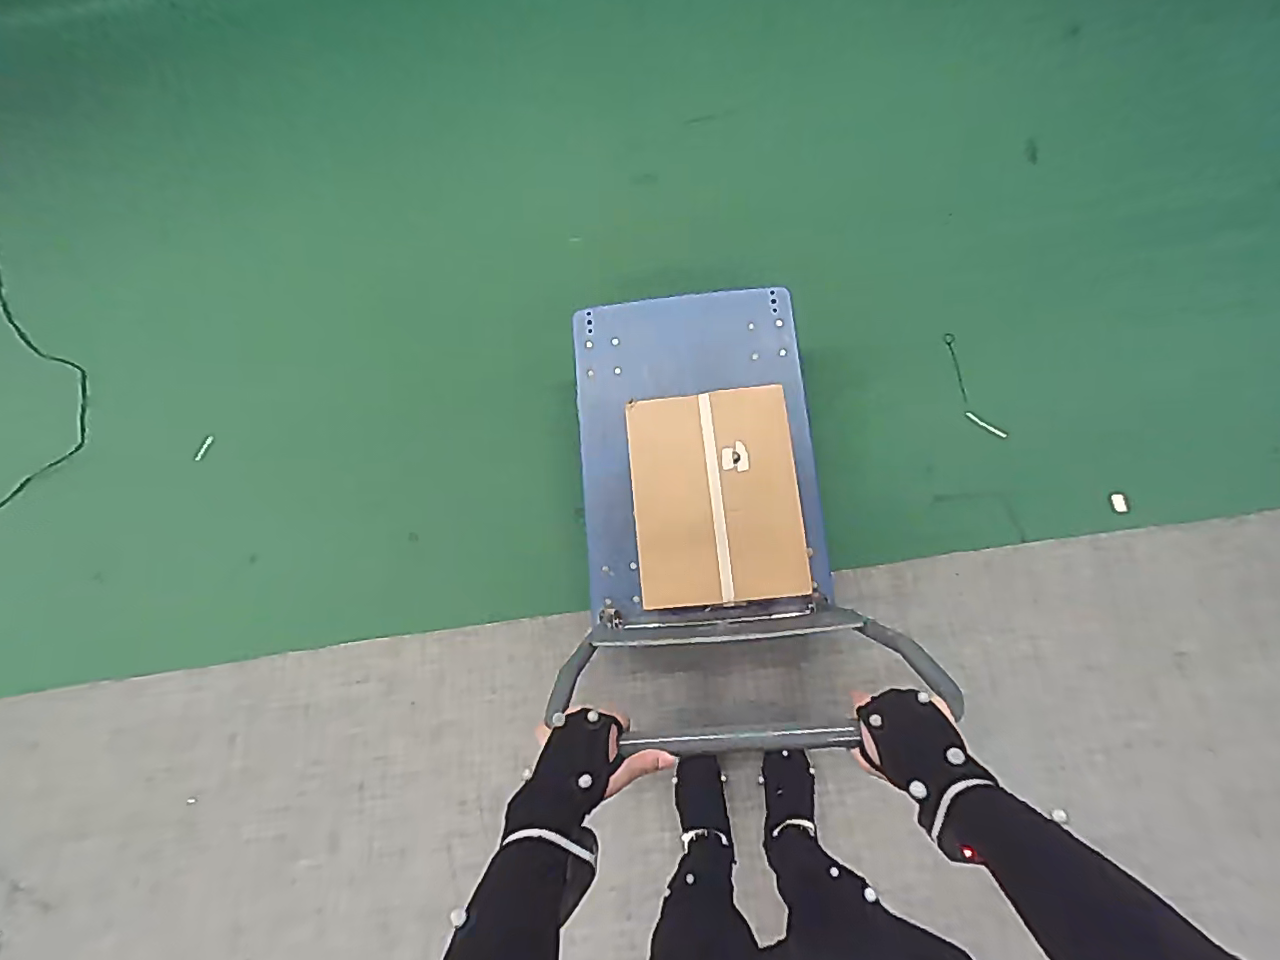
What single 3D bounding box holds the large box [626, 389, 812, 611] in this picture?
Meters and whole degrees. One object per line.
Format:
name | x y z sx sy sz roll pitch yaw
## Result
large box | 0.158 0.059 1.175 0.320 0.320 0.408 -6 79 3
